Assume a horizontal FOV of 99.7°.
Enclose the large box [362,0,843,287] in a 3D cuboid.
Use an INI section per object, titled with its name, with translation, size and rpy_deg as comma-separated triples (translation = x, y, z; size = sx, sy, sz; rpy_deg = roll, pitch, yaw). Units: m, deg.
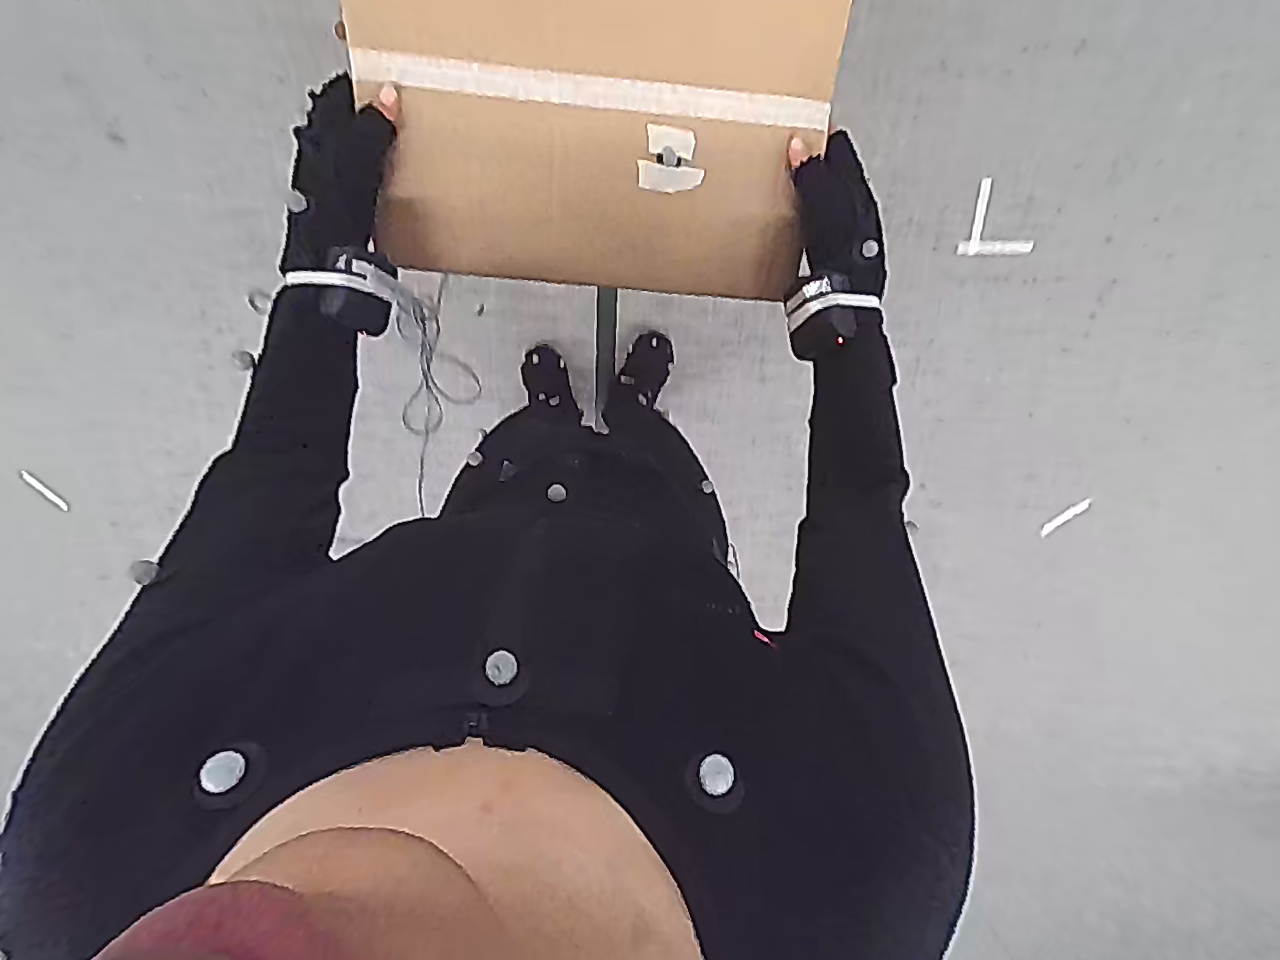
[large box]
translation = -0.041, -0.406, 0.605
size = 0.408, 0.320, 0.320
rpy_deg = 3, 117, -5
